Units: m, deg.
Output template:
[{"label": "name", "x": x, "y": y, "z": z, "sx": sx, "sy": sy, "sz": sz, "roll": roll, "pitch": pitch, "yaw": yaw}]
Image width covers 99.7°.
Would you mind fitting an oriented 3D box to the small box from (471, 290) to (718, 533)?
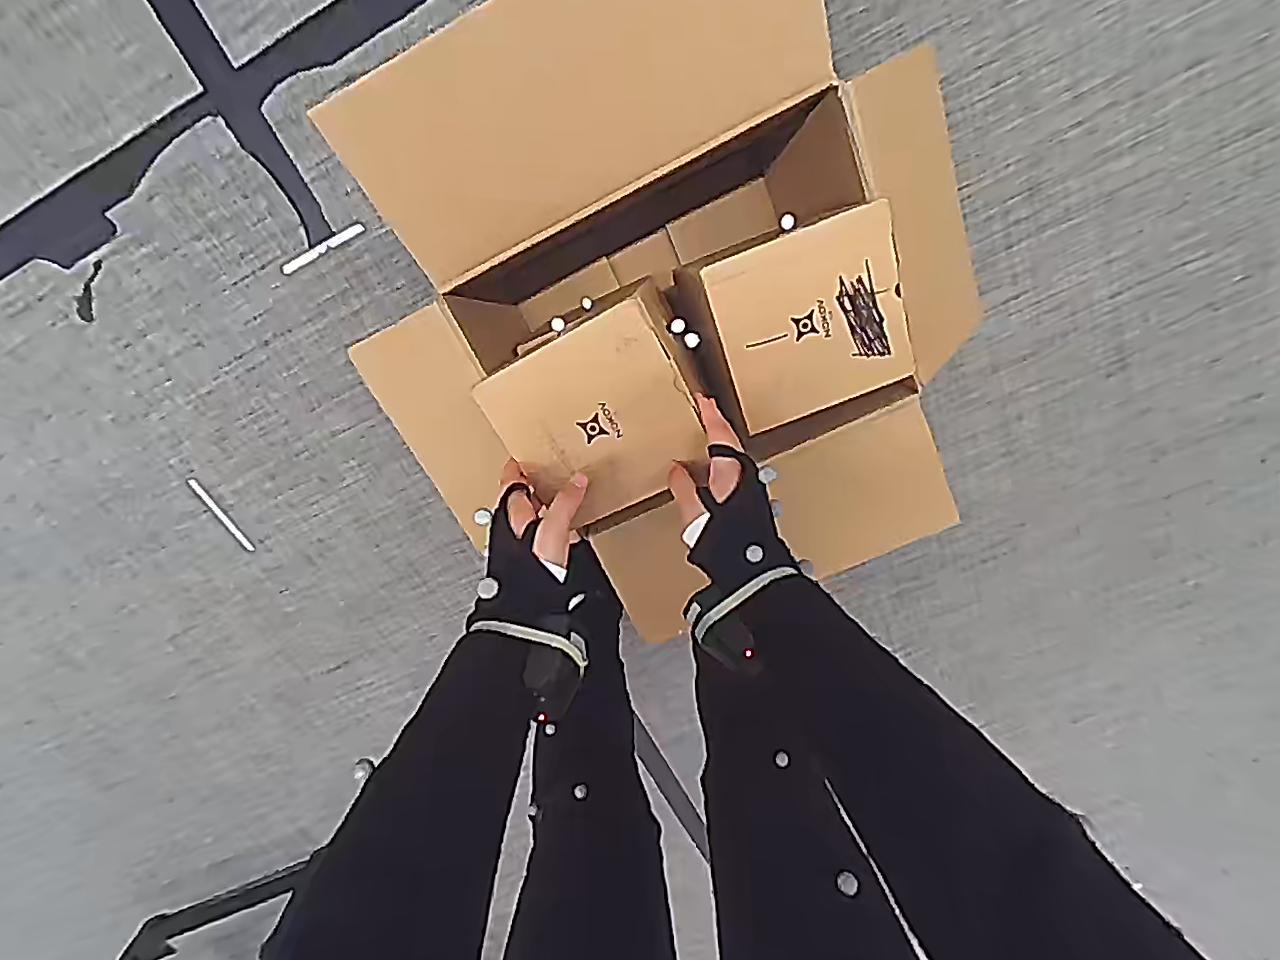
[{"label": "small box", "x": -0.033, "y": -0.079, "z": 0.557, "sx": 0.179, "sy": 0.176, "sz": 0.168, "roll": -24, "pitch": 109, "yaw": 17}]
